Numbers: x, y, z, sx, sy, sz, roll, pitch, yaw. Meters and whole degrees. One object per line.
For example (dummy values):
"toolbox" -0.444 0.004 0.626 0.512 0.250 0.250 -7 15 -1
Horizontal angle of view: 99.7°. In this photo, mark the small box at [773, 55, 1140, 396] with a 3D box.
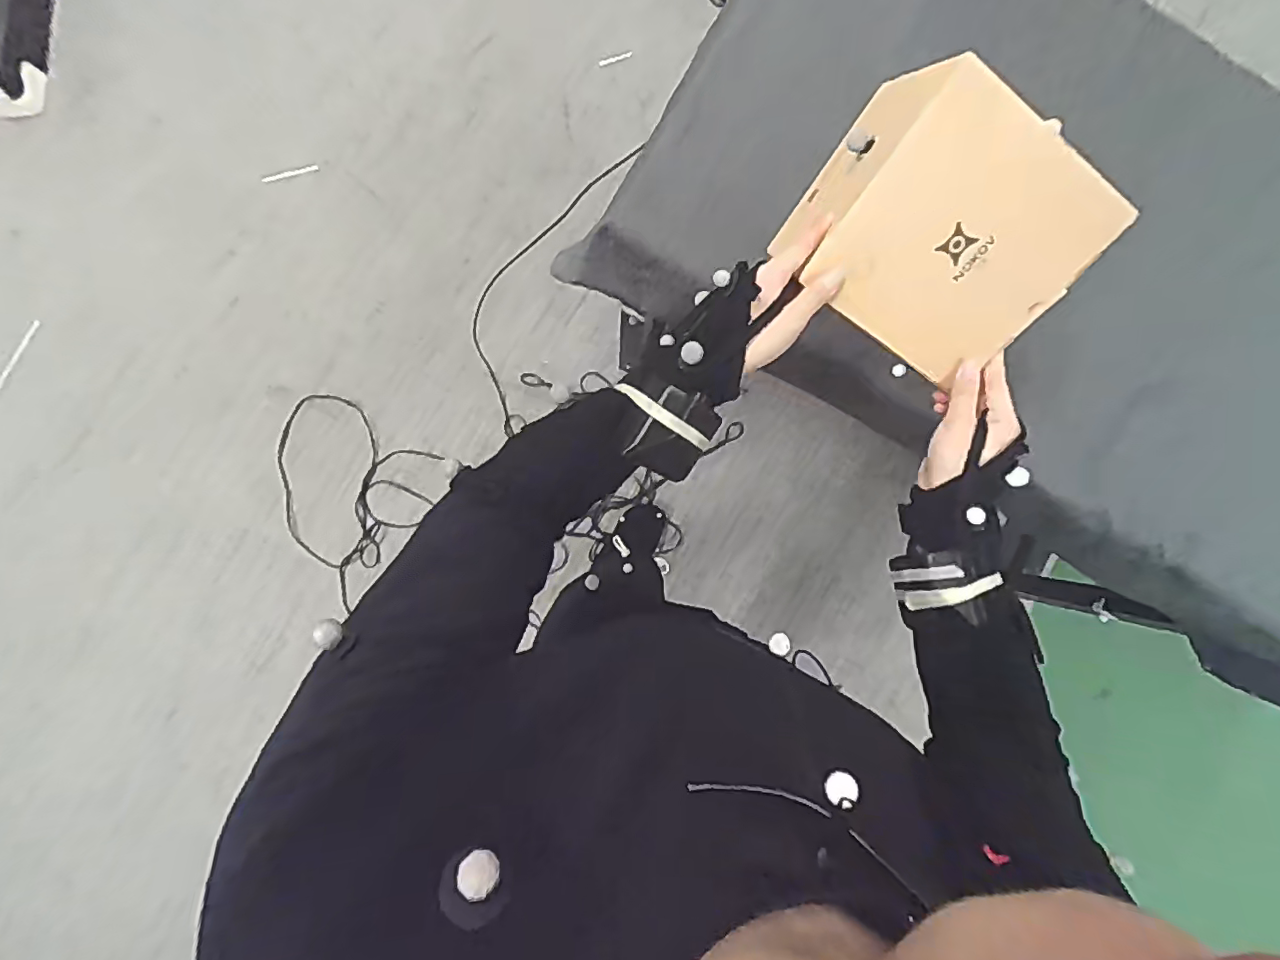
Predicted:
"small box" 0.237 -0.207 0.459 0.179 0.176 0.168 29 119 -14
